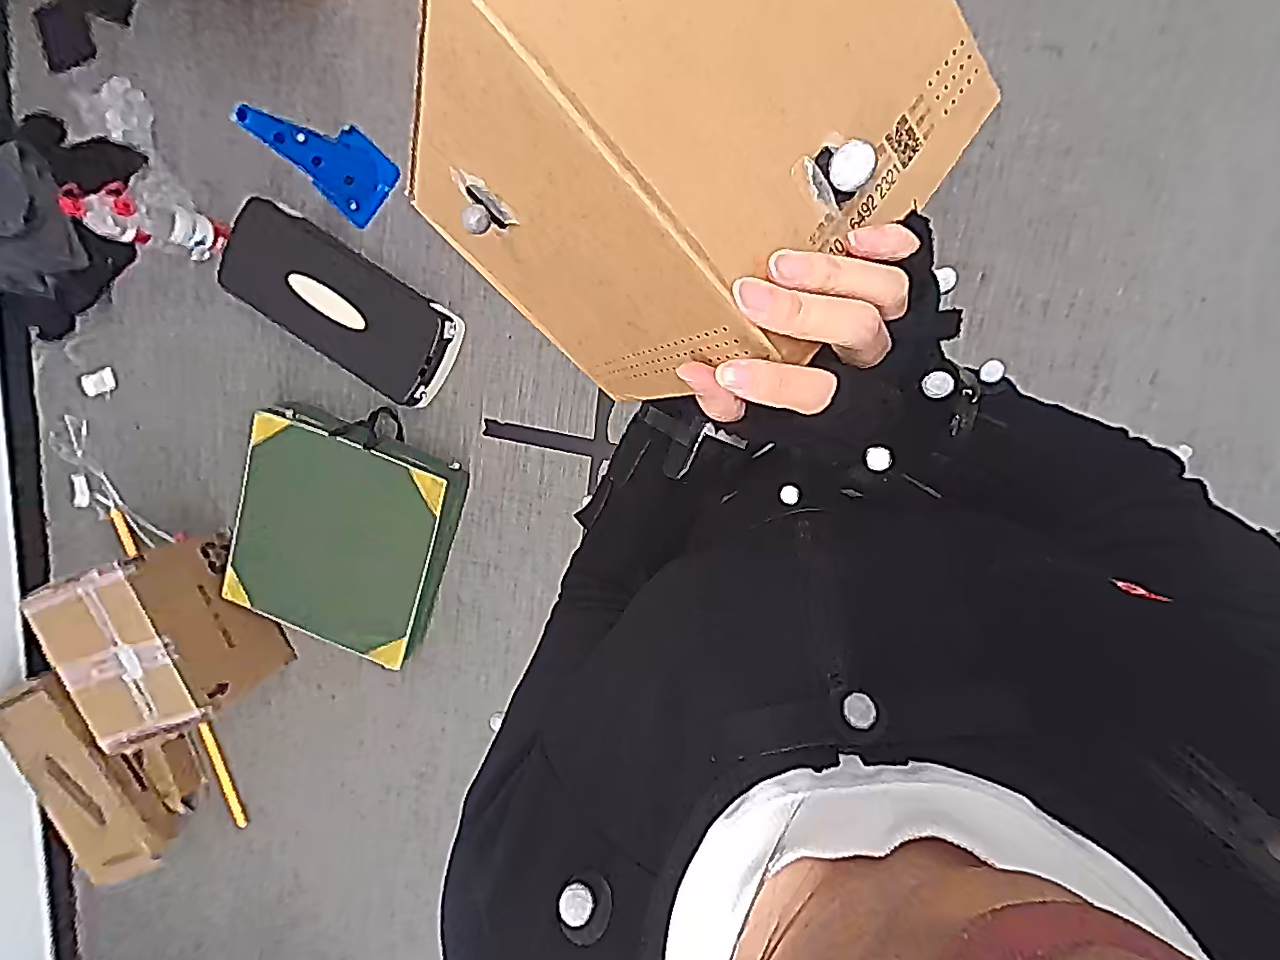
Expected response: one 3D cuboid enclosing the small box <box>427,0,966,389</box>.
[{"bbox_3d":[0.017,-0.162,0.279,0.176,0.179,0.168,42,78,-22],"label":"small box"}]
